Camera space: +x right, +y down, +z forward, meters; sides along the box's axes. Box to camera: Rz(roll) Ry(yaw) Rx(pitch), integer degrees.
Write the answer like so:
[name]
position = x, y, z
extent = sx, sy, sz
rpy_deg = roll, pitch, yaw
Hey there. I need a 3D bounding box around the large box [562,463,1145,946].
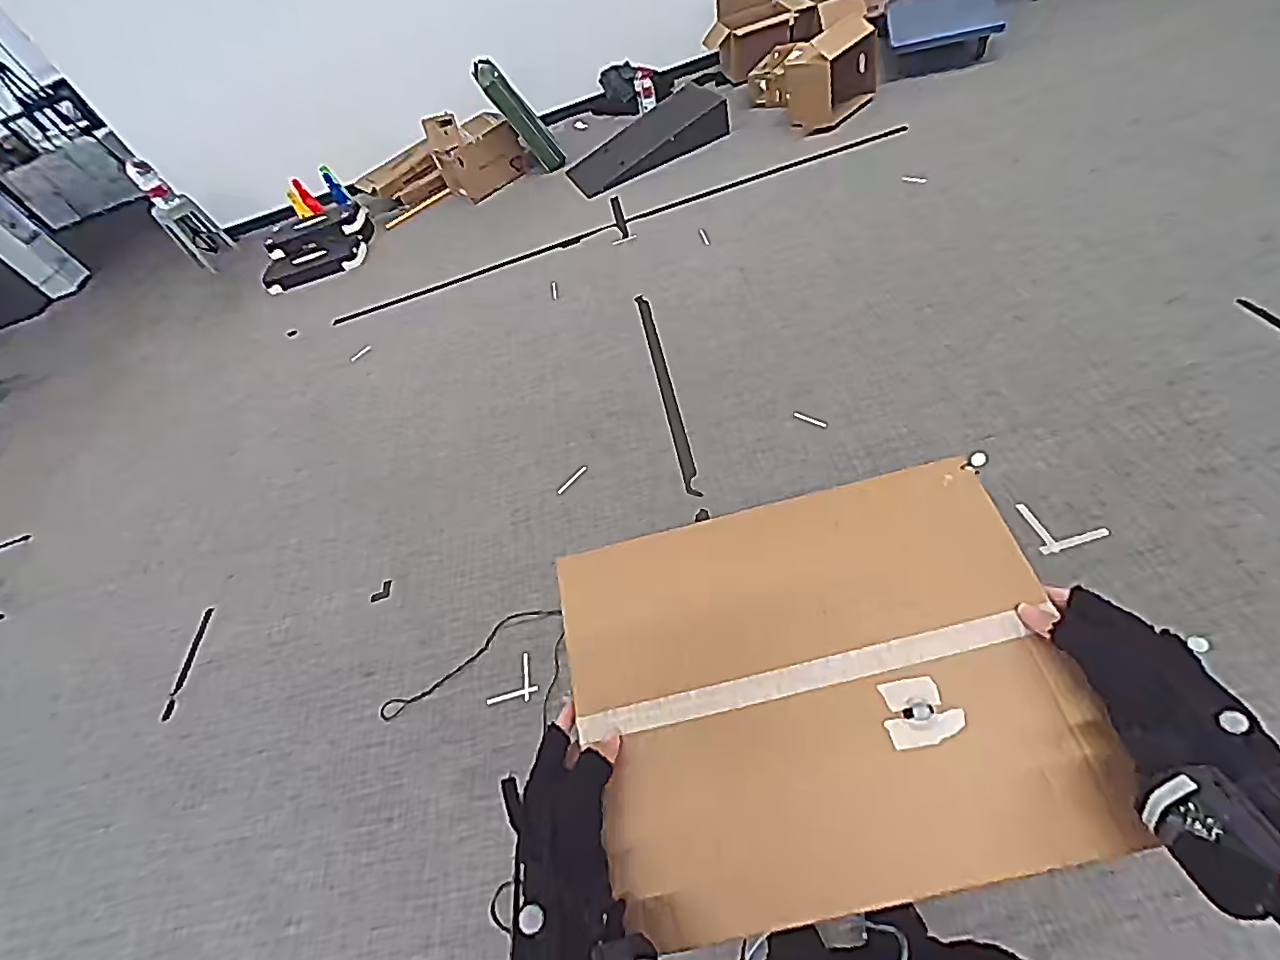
[large box]
position = 0.164, 0.232, 0.594
extent = 0.408, 0.320, 0.320
rpy_deg = -15, 62, 2
